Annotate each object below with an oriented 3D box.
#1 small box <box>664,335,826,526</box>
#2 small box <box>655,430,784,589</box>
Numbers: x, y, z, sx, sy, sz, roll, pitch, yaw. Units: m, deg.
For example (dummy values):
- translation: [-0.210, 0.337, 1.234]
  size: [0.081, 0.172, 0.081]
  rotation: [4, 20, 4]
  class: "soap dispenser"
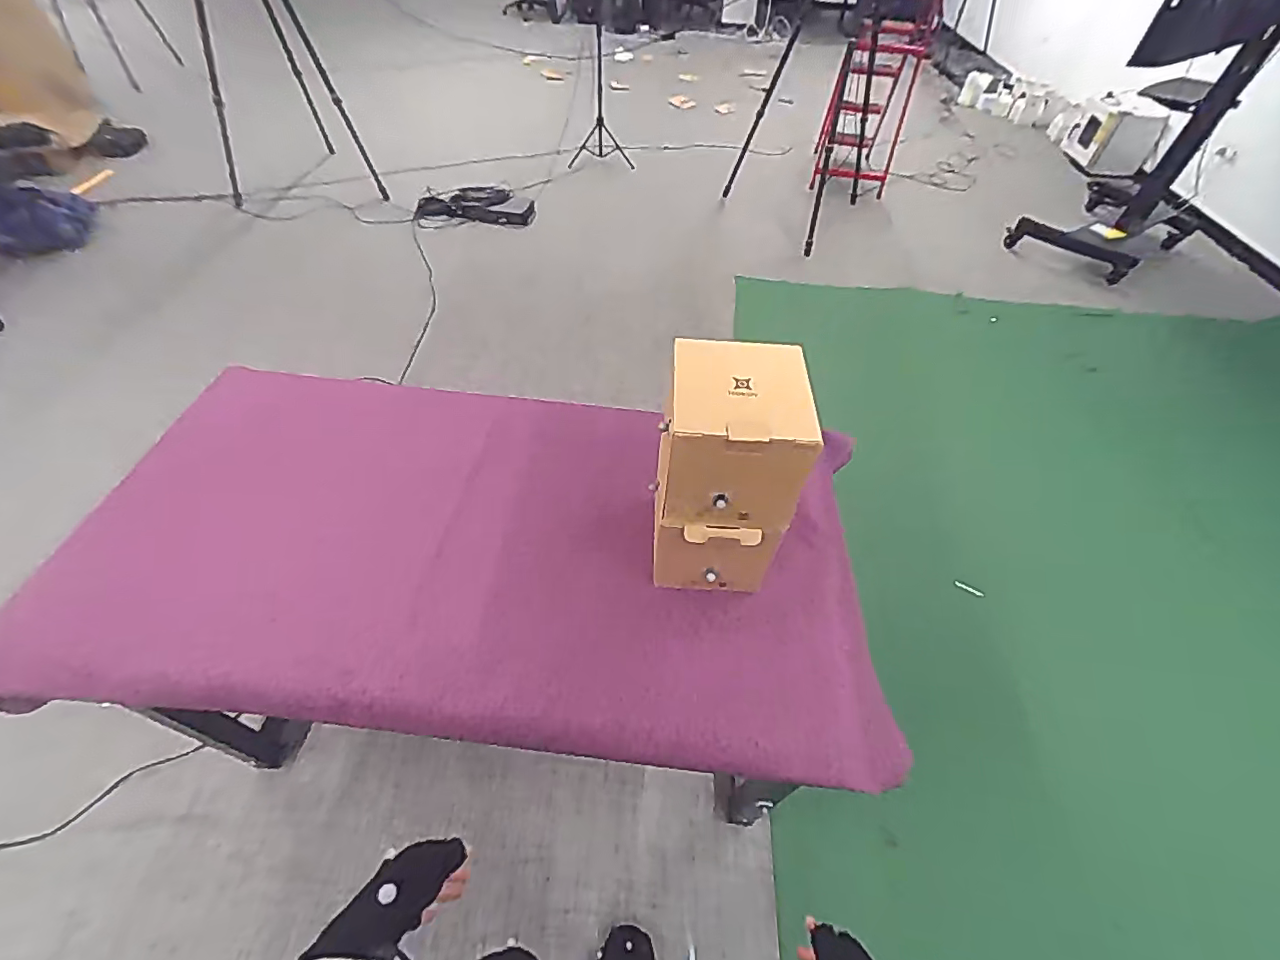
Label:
- translation: [0.121, -0.062, 0.699]
  size: [0.168, 0.176, 0.179]
  rotation: [4, 51, 0]
  class: "small box"
- translation: [0.109, 0.045, 0.823]
  size: [0.168, 0.176, 0.179]
  rotation: [3, 51, 0]
  class: "small box"
